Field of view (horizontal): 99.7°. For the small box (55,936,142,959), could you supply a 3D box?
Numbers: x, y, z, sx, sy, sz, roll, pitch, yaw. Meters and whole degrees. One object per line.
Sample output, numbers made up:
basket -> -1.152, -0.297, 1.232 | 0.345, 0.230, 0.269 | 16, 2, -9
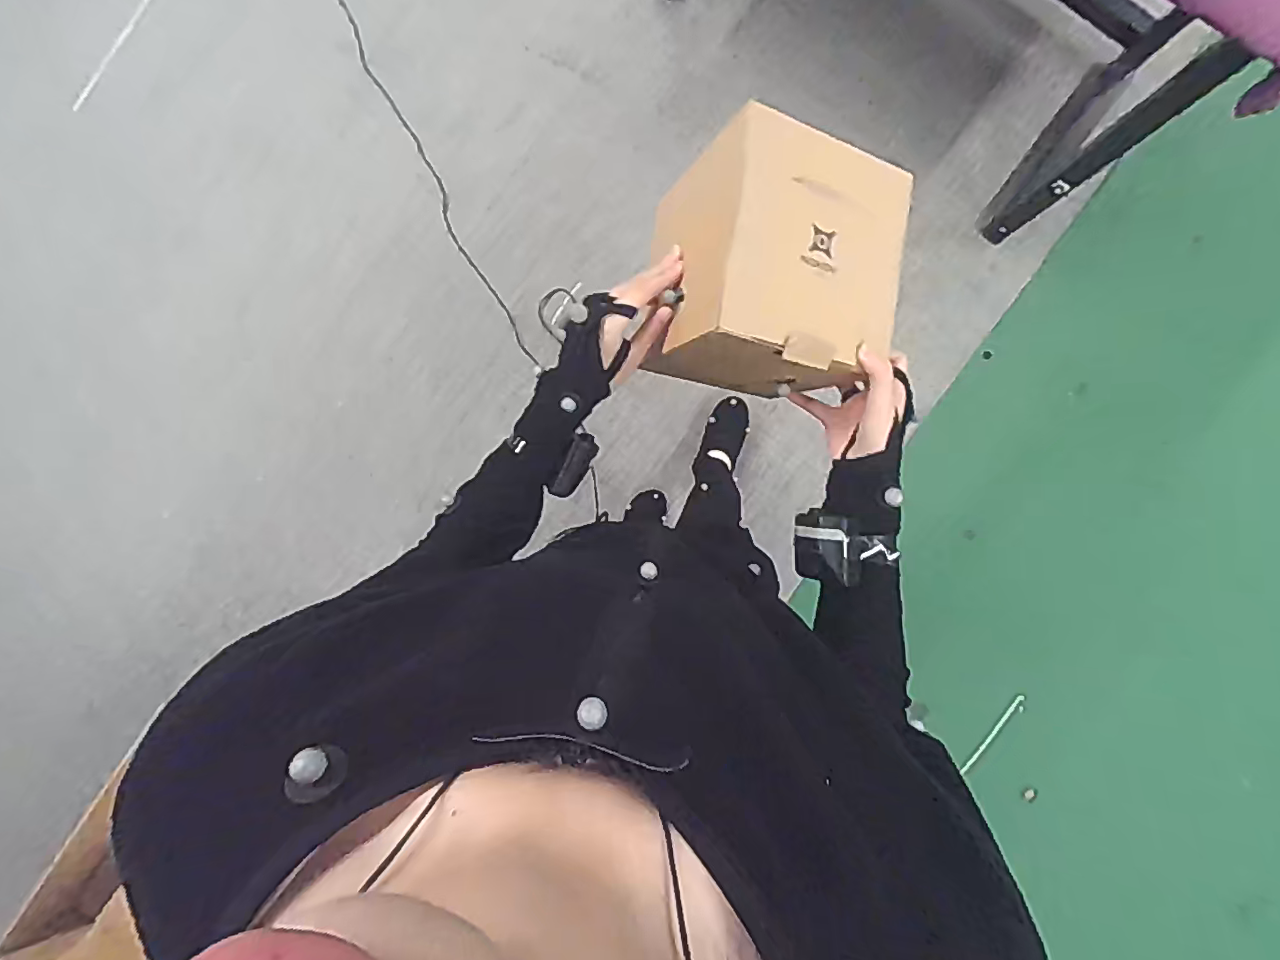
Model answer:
small box -> -0.959, 0.918, 0.895 | 0.179, 0.176, 0.168 | 30, 91, 0

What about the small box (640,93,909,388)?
small box -> 0.110, -0.192, 0.501 | 0.168, 0.176, 0.179 | 10, 87, -22
